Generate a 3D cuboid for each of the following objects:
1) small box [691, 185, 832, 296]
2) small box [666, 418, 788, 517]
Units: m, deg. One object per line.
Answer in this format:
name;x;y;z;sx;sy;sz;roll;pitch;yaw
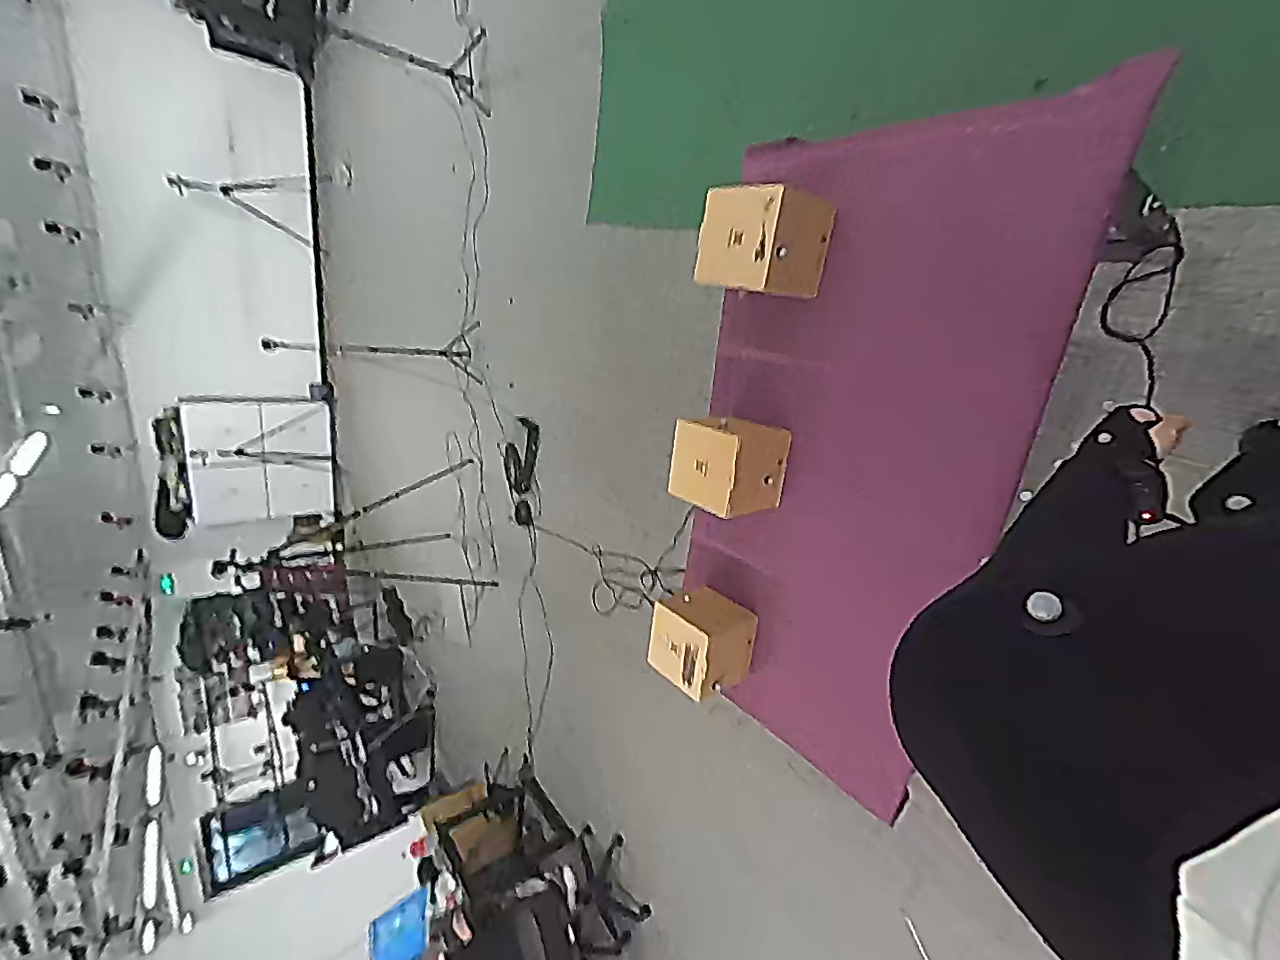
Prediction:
small box;0.224;-0.442;1.013;0.179;0.176;0.168;28;118;44
small box;0.182;-0.034;1.140;0.179;0.176;0.168;23;113;45
